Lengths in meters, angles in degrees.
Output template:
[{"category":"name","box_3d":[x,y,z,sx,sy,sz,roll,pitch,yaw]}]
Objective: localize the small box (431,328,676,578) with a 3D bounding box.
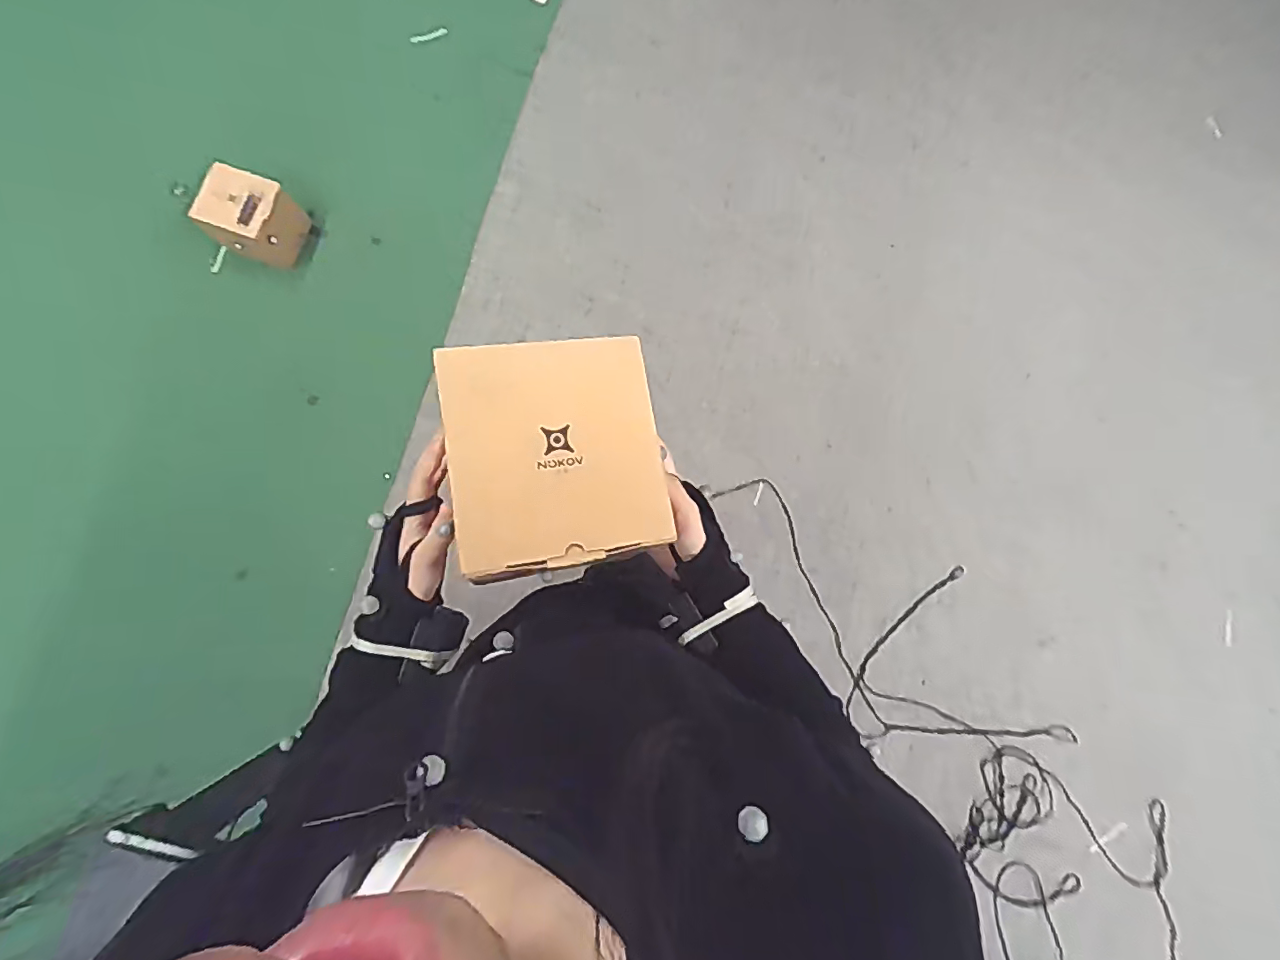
[{"category":"small box","box_3d":[-0.085,-0.015,0.486,0.168,0.176,0.179,-9,81,-16]}]
